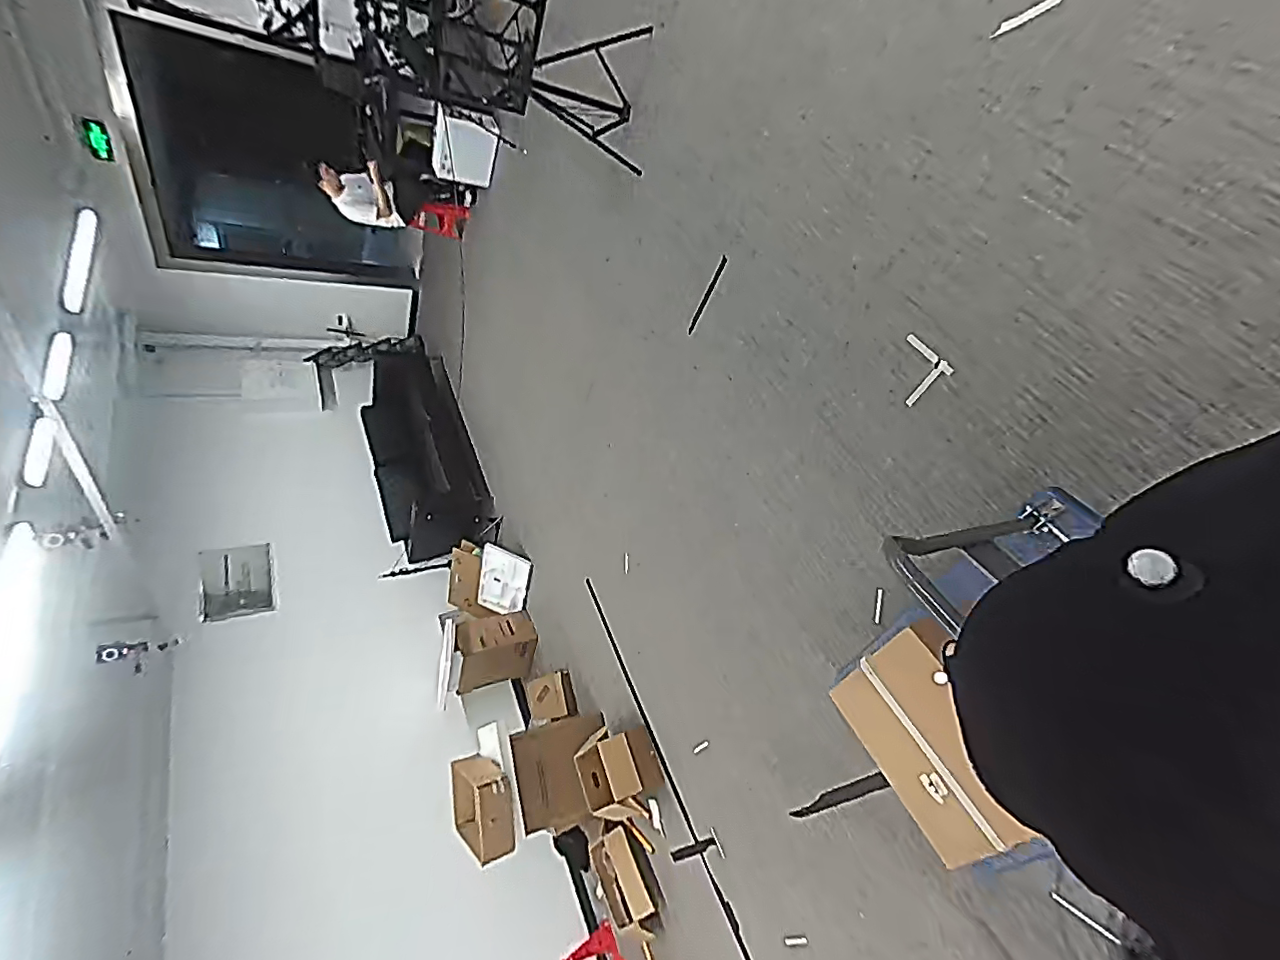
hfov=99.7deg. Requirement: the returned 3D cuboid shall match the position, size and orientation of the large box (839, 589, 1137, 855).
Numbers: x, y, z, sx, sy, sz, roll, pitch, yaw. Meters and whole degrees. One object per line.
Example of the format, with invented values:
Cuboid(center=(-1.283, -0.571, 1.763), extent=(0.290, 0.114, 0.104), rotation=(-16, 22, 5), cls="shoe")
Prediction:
Cuboid(center=(0.750, 0.517, 1.213), extent=(0.408, 0.320, 0.320), rotation=(58, 140, 34), cls="large box")
